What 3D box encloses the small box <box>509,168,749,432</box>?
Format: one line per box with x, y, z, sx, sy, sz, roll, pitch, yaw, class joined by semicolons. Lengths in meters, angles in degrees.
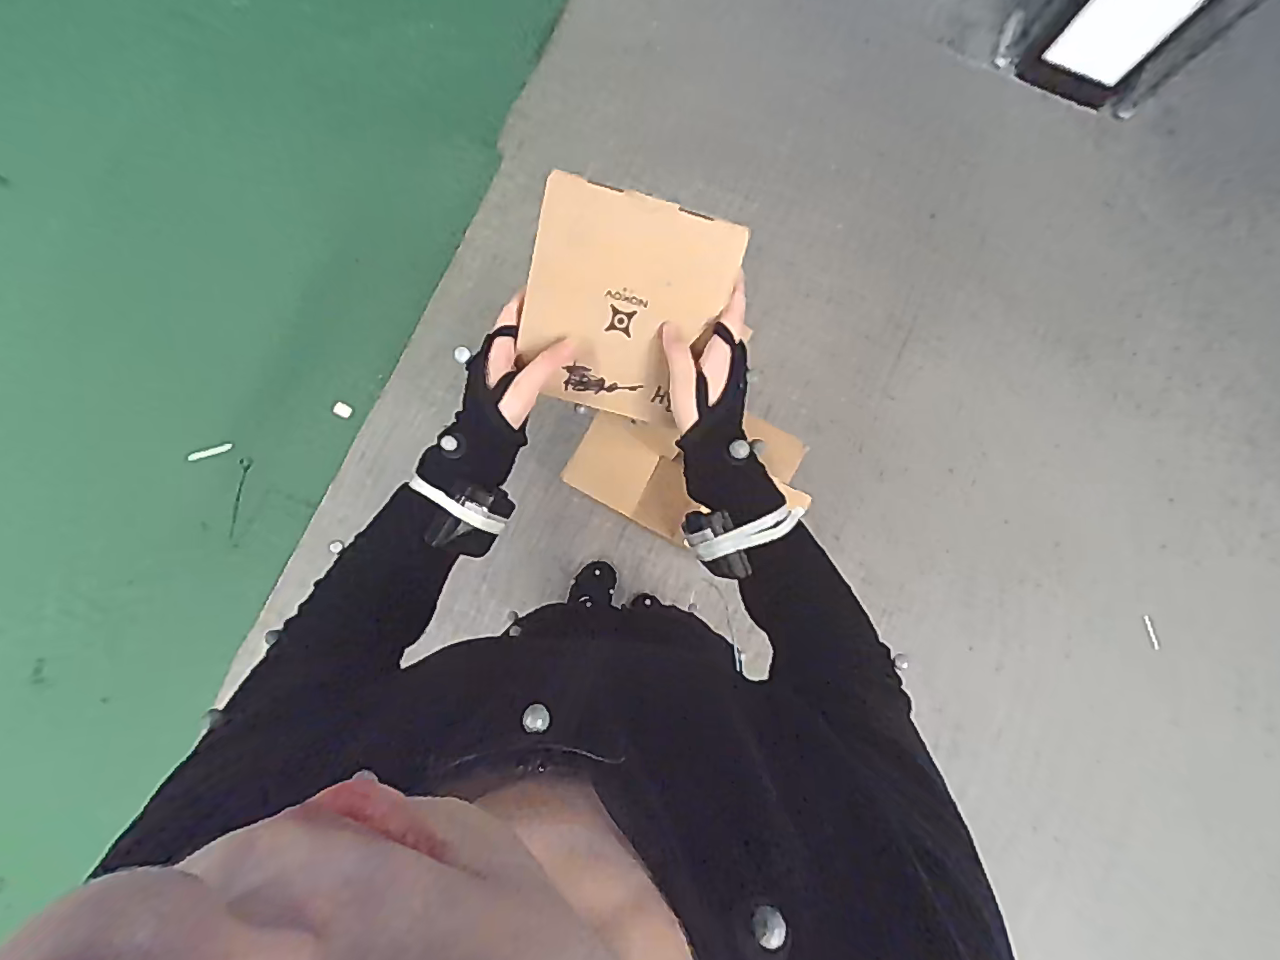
-0.013;-0.168;0.522;0.168;0.176;0.179;15;110;-5;small box

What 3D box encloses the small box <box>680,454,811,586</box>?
0.182;0.075;0.994;0.168;0.176;0.179;27;84;1;small box

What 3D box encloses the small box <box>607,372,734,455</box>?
0.045;-0.162;1.016;0.179;0.176;0.168;35;84;1;small box

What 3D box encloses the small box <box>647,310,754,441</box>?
0.049;-0.184;0.853;0.168;0.176;0.179;37;82;2;small box
